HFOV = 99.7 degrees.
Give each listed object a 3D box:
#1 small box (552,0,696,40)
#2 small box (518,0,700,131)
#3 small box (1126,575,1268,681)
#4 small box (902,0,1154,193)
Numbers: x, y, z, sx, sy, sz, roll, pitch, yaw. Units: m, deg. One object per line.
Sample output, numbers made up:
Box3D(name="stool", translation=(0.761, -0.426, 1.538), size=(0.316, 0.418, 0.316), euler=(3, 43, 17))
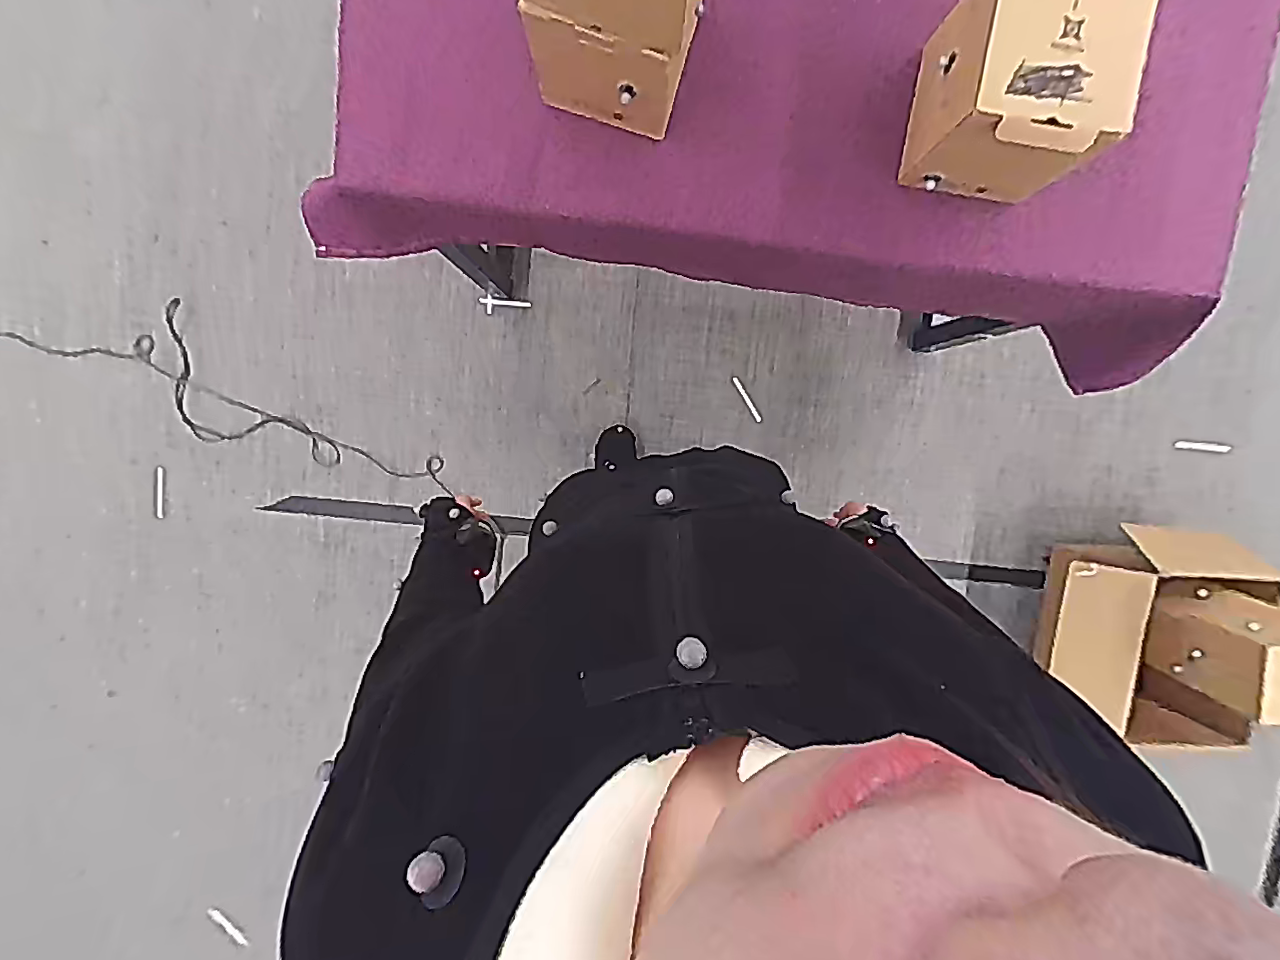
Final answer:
Box3D(name="small box", translation=(-0.016, -0.530, 0.458), size=(0.179, 0.176, 0.168), euler=(18, 97, -3))
Box3D(name="small box", translation=(-0.024, -0.547, 0.621), size=(0.168, 0.176, 0.179), euler=(17, 95, -3))
Box3D(name="small box", translation=(1.301, 0.337, 1.276), size=(0.168, 0.176, 0.179), euler=(-16, 100, 4))
Box3D(name="small box", translation=(0.433, -0.465, 0.632), size=(0.168, 0.176, 0.179), euler=(9, 95, -1))
